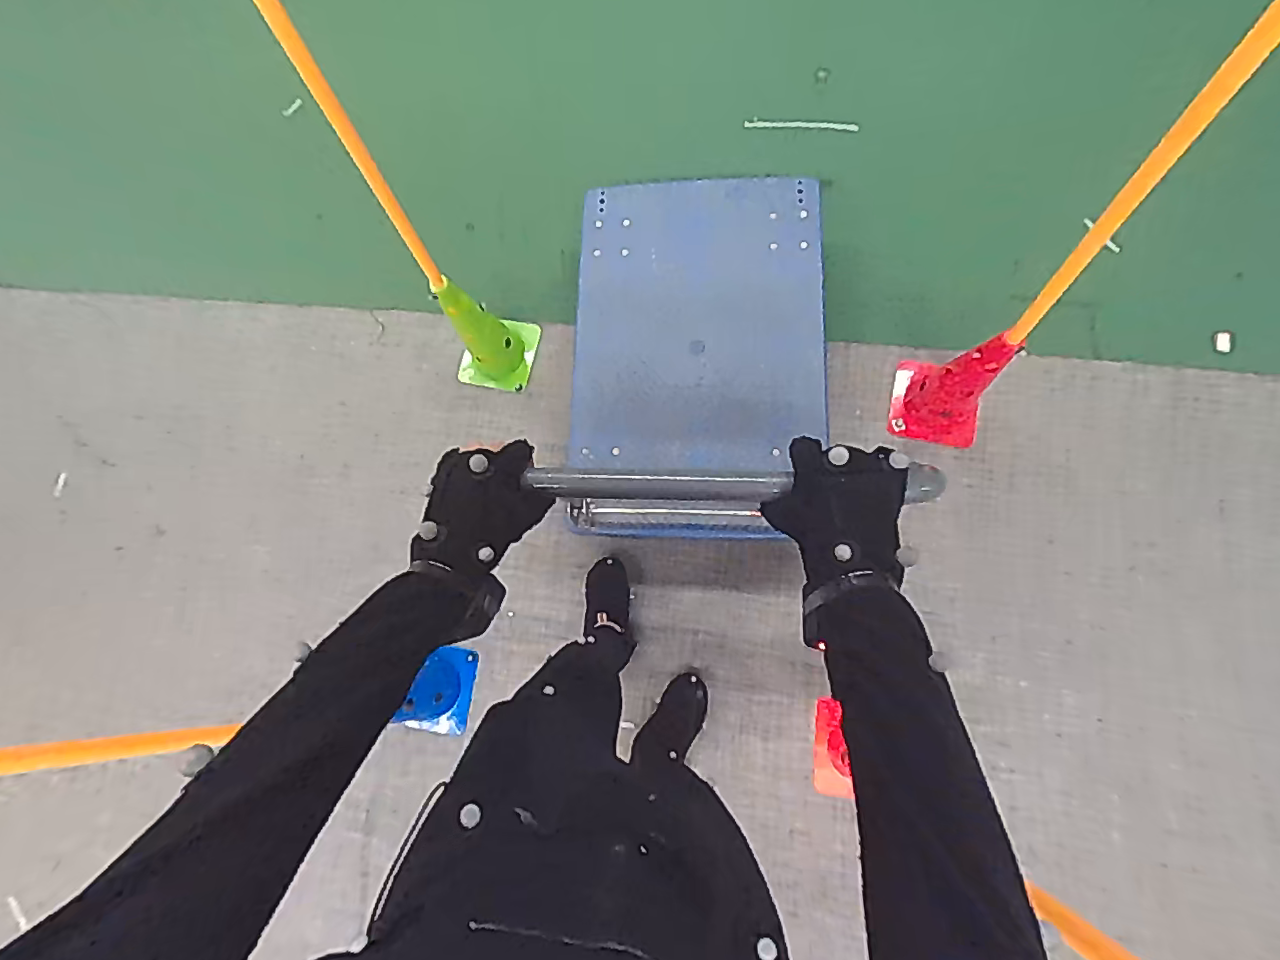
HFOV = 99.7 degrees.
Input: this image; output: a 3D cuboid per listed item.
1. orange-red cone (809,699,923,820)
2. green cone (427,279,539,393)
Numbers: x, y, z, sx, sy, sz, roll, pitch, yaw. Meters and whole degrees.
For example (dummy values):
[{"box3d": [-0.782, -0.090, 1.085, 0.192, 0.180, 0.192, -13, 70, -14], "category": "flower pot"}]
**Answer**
[{"box3d": [0.458, 0.566, 1.038, 0.199, 0.360, 0.198, 6, 79, 10], "category": "orange-red cone"}, {"box3d": [-0.412, -0.381, 1.333, 0.202, 0.368, 0.200, 11, 79, 10], "category": "green cone"}]
